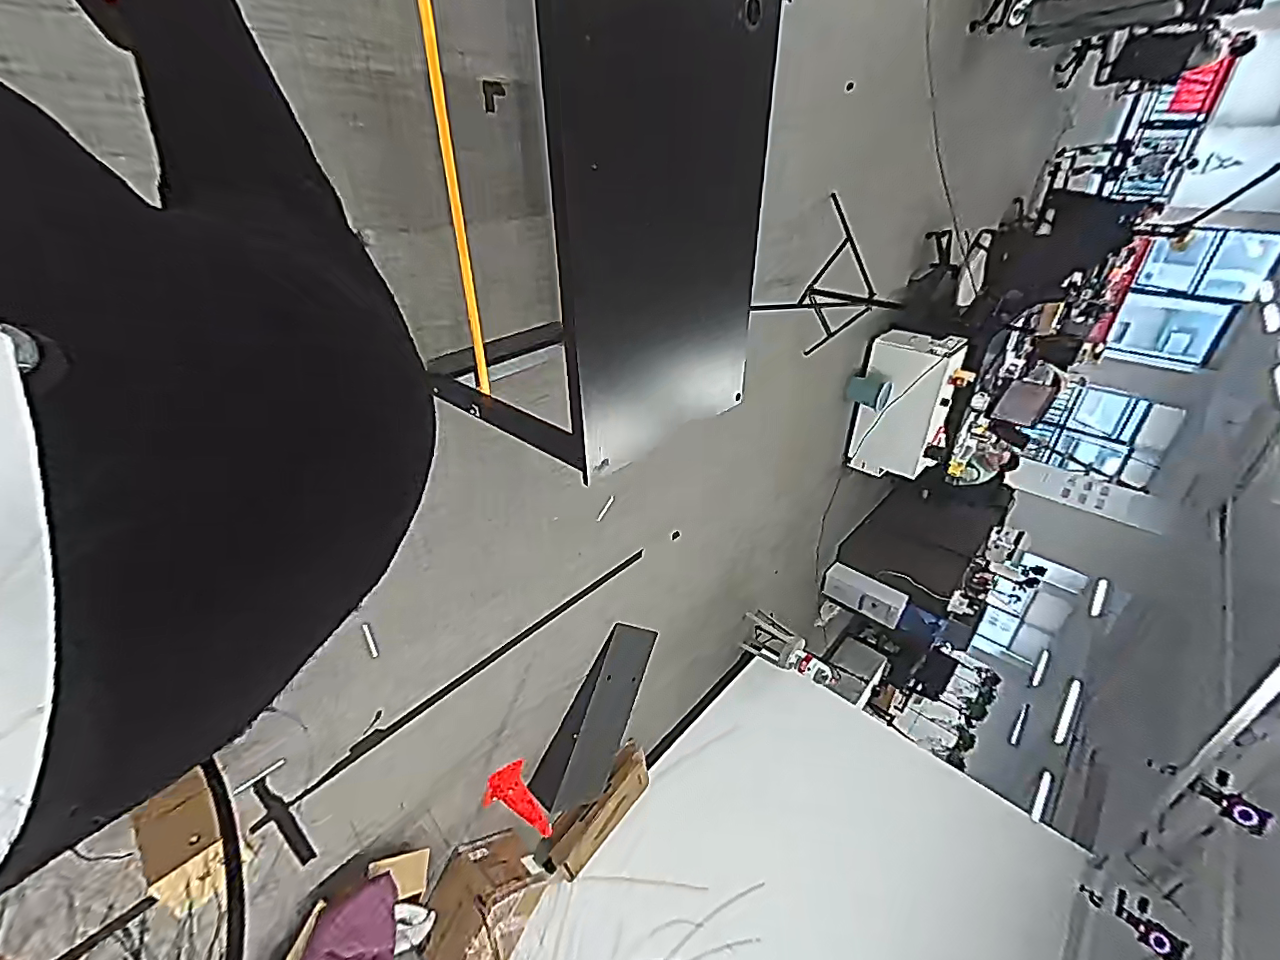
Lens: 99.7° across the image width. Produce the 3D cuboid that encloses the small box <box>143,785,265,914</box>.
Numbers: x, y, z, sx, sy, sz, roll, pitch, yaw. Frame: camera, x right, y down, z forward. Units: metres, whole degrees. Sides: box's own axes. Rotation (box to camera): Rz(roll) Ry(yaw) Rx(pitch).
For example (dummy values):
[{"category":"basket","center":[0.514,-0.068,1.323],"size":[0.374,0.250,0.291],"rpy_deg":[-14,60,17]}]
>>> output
[{"category":"small box","center":[-1.093,0.917,1.358],"size":[0.179,0.176,0.168],"rpy_deg":[-29,132,-37]}]

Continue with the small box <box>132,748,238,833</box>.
[{"category":"small box","center":[-1.216,0.858,1.452],"size":[0.168,0.176,0.179],"rpy_deg":[-28,131,-39]}]
